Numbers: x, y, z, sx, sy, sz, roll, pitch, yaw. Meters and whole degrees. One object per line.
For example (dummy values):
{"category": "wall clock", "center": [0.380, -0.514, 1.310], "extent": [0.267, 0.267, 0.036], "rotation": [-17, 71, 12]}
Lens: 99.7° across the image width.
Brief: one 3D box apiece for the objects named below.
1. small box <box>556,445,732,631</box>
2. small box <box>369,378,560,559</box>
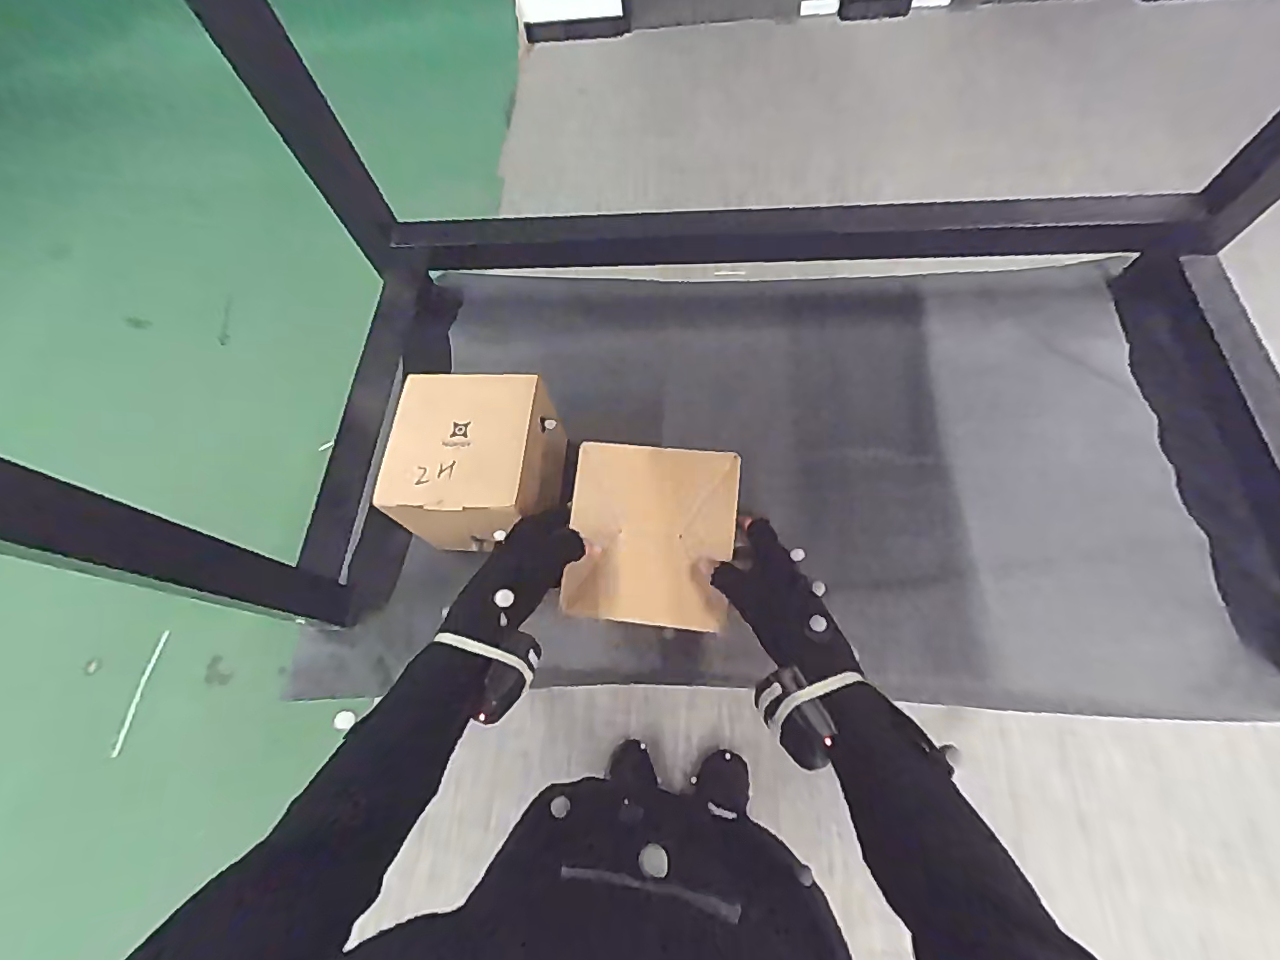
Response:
{"category": "small box", "center": [0.014, 0.069, 0.604], "extent": [0.168, 0.176, 0.179], "rotation": [5, 81, 9]}
{"category": "small box", "center": [-0.205, -0.011, 0.693], "extent": [0.168, 0.176, 0.179], "rotation": [1, 65, 7]}
